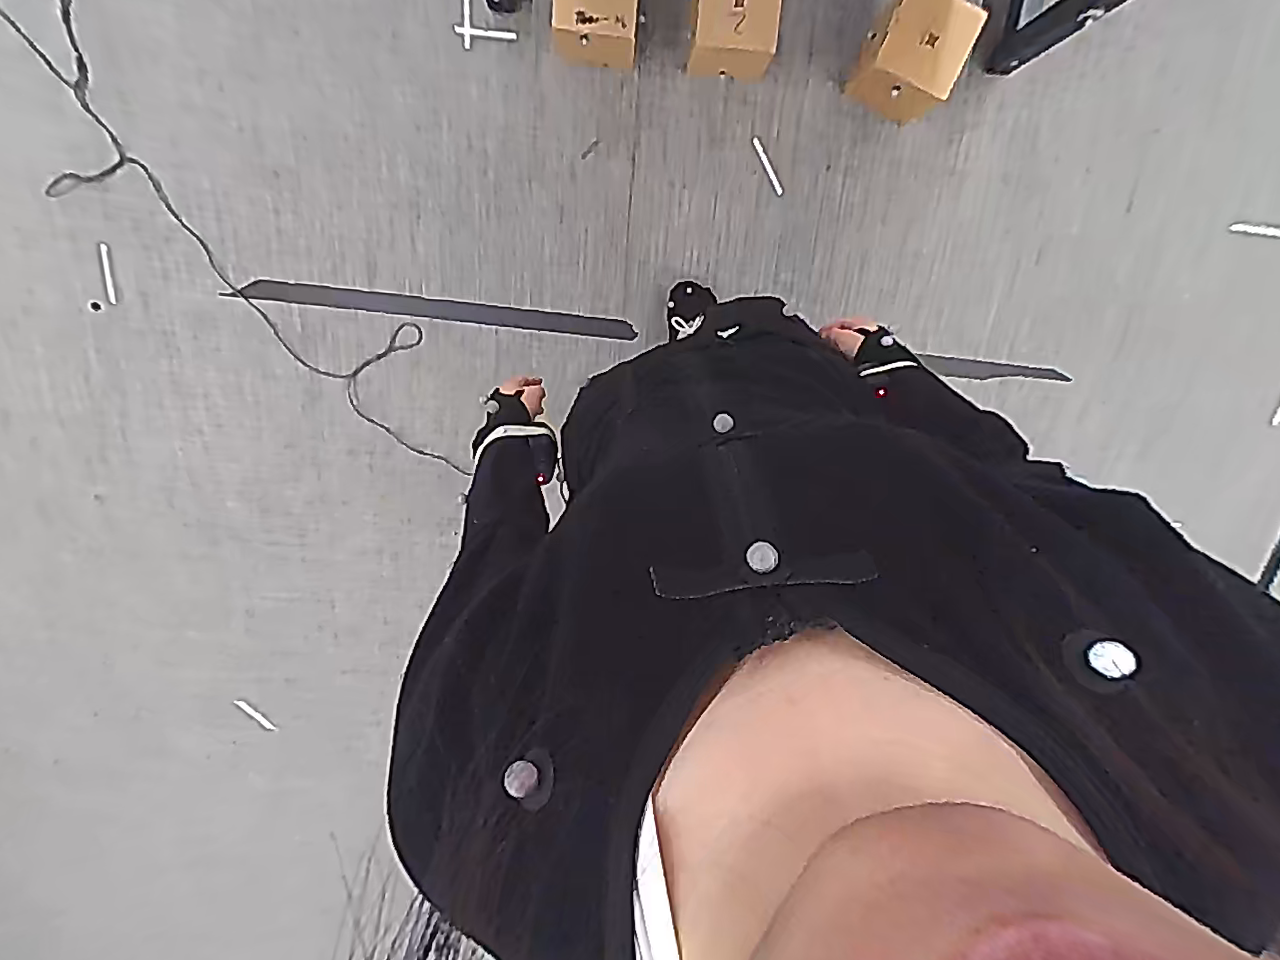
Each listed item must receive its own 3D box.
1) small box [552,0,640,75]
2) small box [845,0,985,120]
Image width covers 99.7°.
[{"bbox_3d":[-0.085,-0.990,1.122,0.168,0.176,0.179,7,106,-4],"label":"small box"},{"bbox_3d":[0.583,-0.916,1.169,0.179,0.176,0.168,21,107,-7],"label":"small box"}]
